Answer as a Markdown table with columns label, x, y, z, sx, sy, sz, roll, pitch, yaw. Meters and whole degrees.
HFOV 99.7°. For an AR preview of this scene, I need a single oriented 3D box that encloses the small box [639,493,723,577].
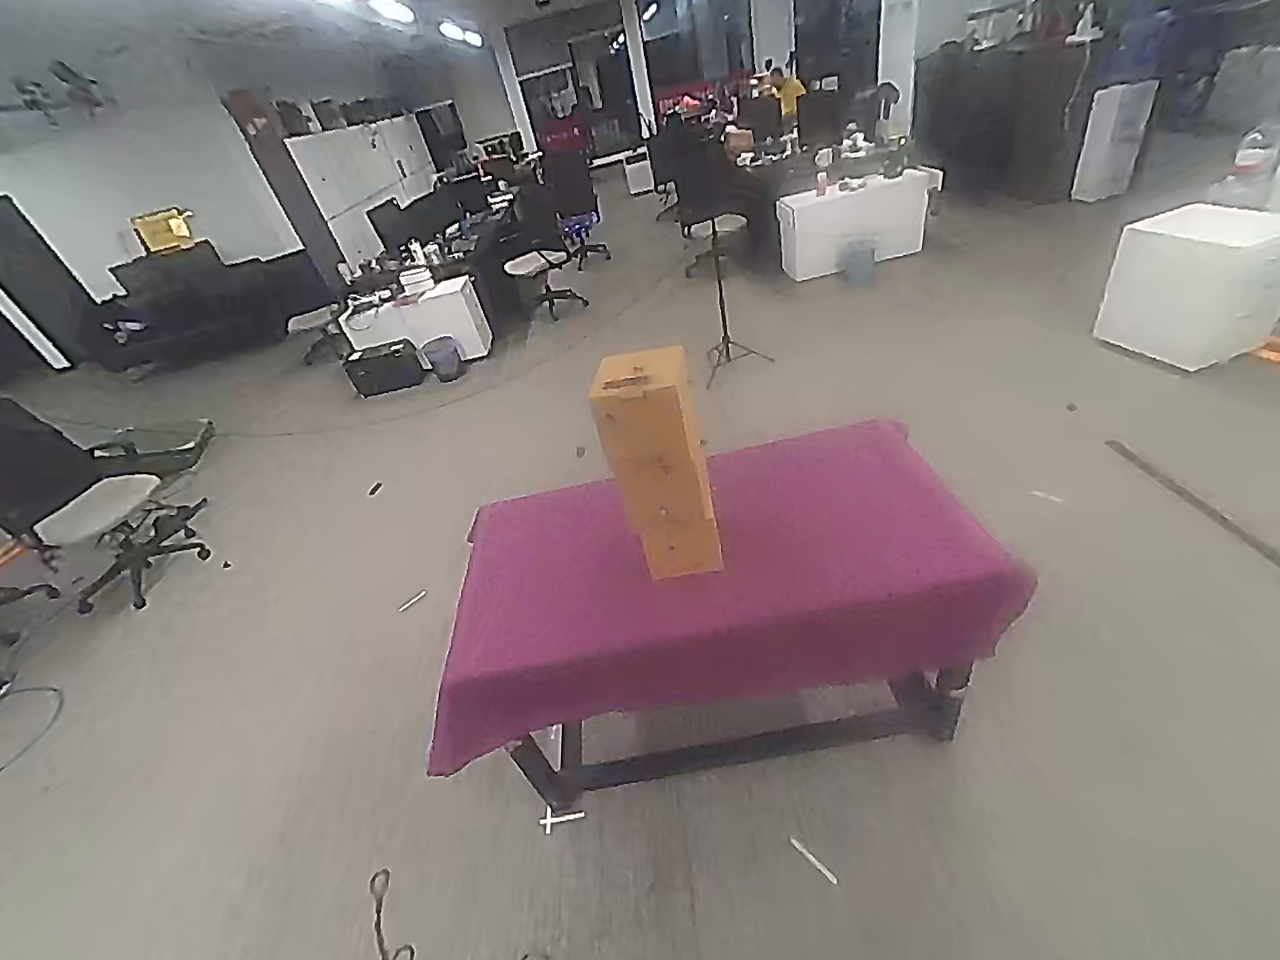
| label | x | y | z | sx | sy | sz | roll | pitch | yaw |
| --- | --- | --- | --- | --- | --- | --- | --- | --- | --- |
| small box | 0.094 | 0.110 | 1.264 | 0.168 | 0.176 | 0.179 | -11 | 36 | 7 |

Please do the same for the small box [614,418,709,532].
| label | x | y | z | sx | sy | sz | roll | pitch | yaw |
| --- | --- | --- | --- | --- | --- | --- | --- | --- | --- |
| small box | 0.053 | -0.010 | 1.159 | 0.168 | 0.176 | 0.179 | -7 | 37 | 13 |
